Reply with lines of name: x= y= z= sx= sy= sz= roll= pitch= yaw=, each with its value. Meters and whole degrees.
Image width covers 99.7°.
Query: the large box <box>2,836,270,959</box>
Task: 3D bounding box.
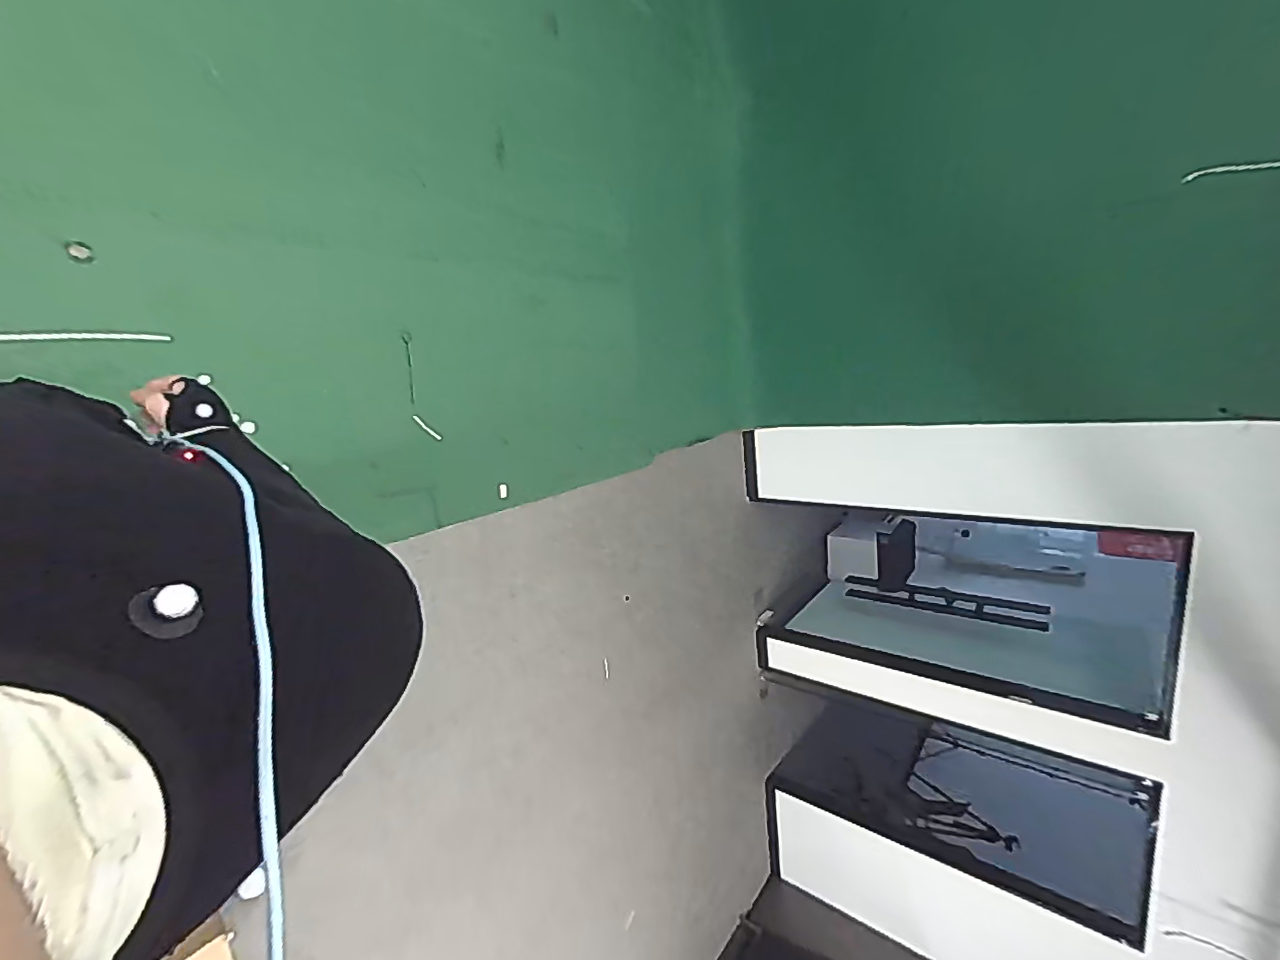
large box: x=-1.106 y=1.115 z=1.192 sx=0.408 sy=0.320 sz=0.320 roll=-22 pitch=110 yaw=-48
